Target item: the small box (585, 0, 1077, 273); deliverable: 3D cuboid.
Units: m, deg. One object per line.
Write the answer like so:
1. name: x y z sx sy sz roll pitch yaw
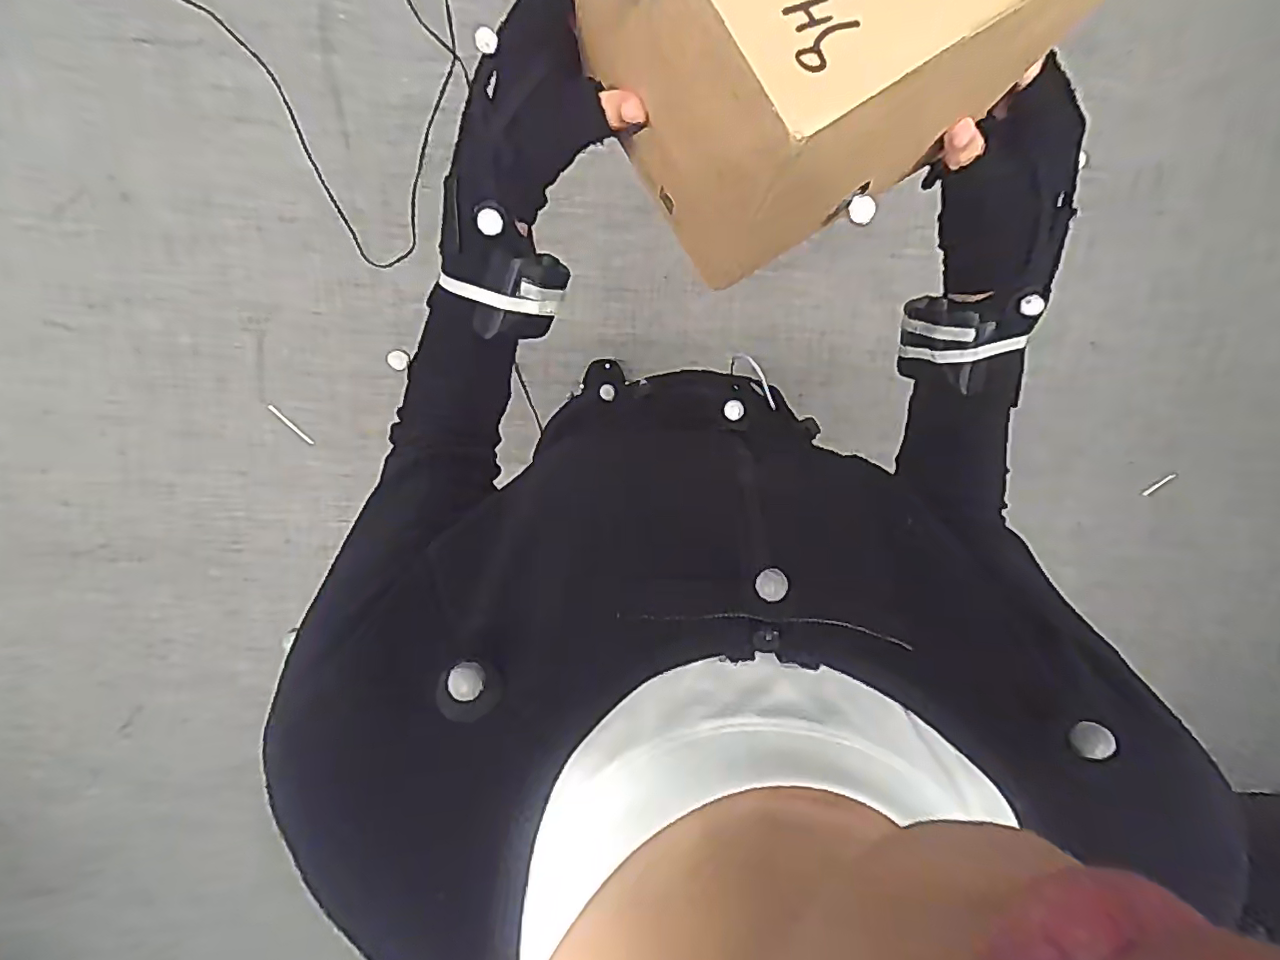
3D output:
1. small box: 0.080 -0.240 0.272 0.179 0.176 0.168 -32 92 -1
